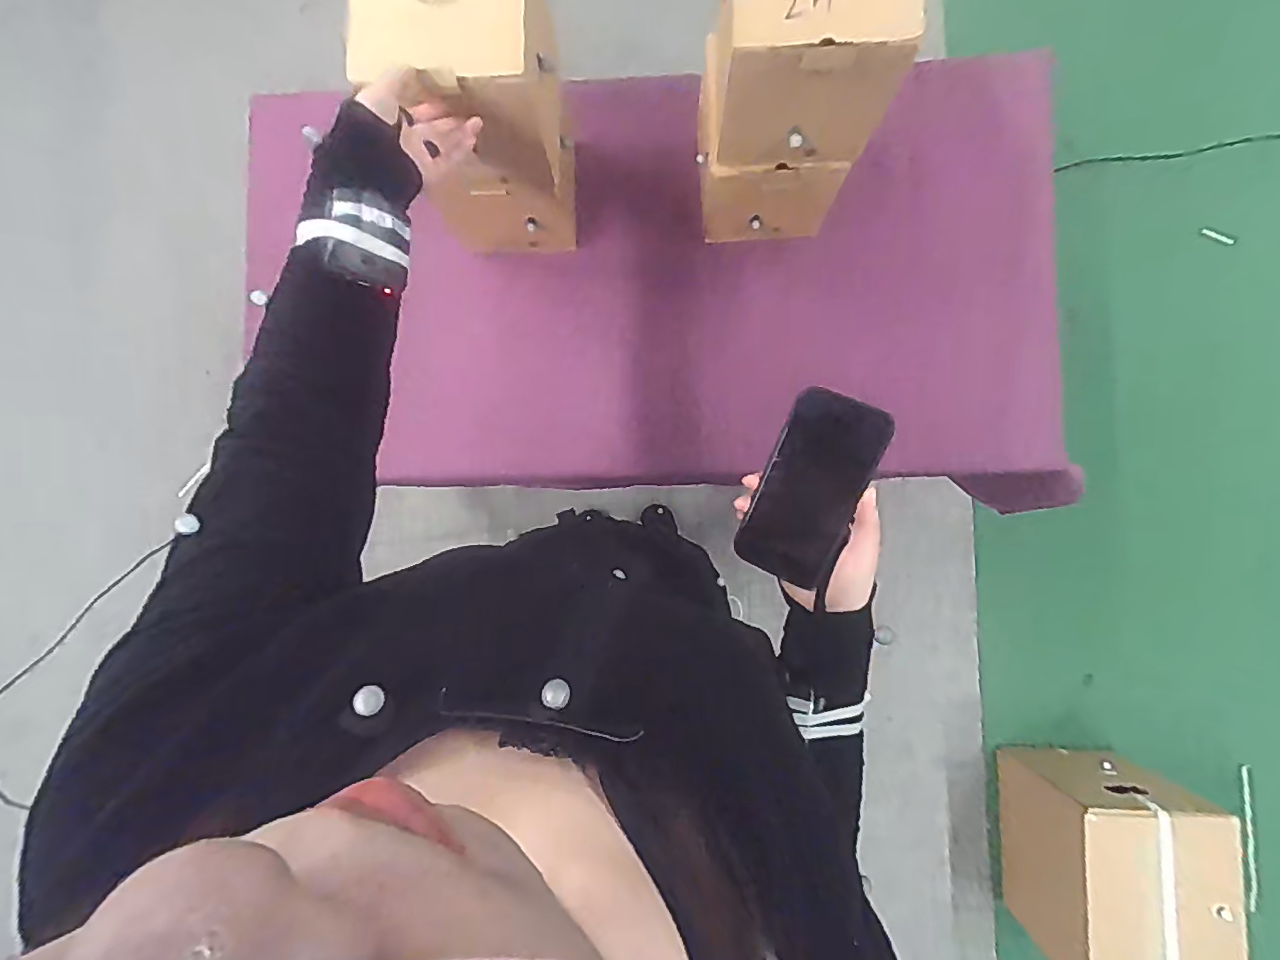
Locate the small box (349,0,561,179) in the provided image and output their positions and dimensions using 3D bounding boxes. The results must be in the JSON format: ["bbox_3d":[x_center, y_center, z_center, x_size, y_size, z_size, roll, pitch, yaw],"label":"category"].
[{"bbox_3d":[-0.179,-0.443,0.570,0.168,0.176,0.179,0,88,2],"label":"small box"}]

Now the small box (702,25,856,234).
[{"bbox_3d":[0.171,-0.453,0.715,0.168,0.176,0.179,-3,88,3],"label":"small box"}]

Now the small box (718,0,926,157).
[{"bbox_3d":[0.169,-0.466,0.551,0.168,0.176,0.179,0,89,4],"label":"small box"}]

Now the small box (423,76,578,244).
[{"bbox_3d":[-0.178,-0.439,0.735,0.168,0.176,0.179,0,87,2],"label":"small box"}]
